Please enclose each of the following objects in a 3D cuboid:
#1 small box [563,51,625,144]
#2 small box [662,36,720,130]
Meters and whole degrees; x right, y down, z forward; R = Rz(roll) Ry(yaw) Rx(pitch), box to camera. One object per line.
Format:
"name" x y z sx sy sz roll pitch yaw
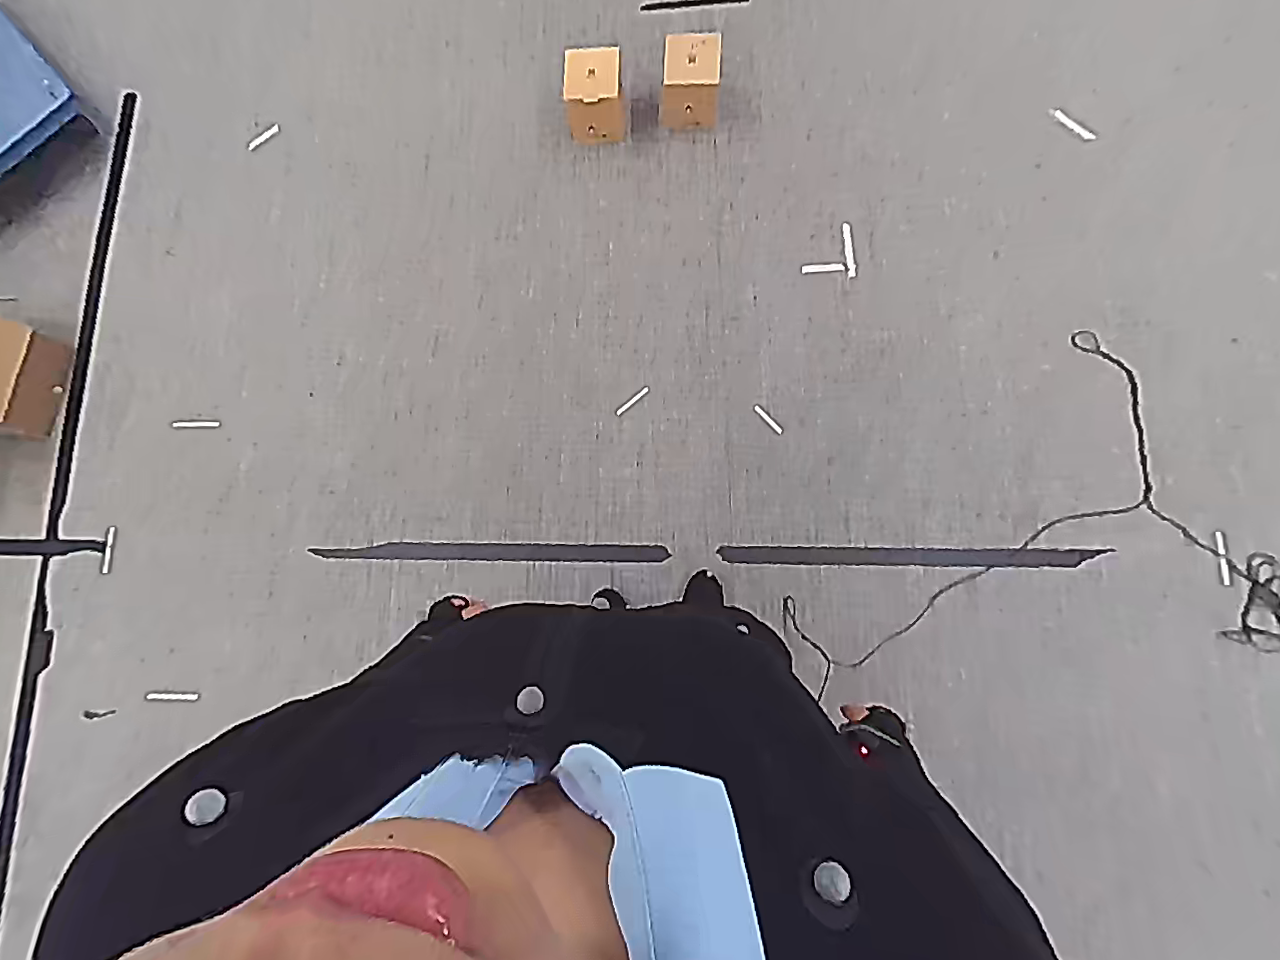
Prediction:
"small box" -0.139 -1.188 1.686 0.168 0.176 0.179 0 80 4
"small box" 0.157 -1.218 1.668 0.168 0.176 0.179 3 80 4
